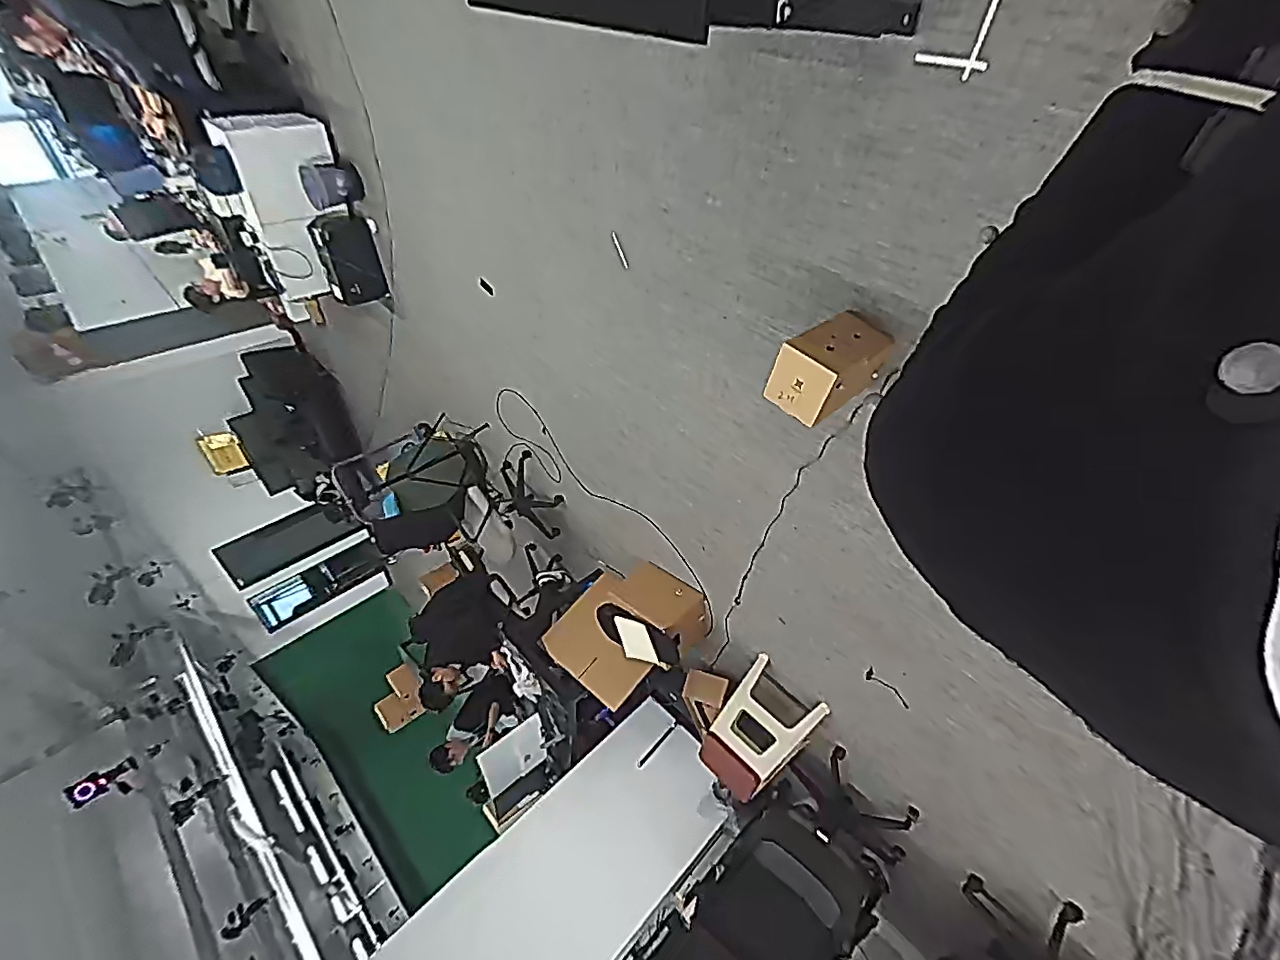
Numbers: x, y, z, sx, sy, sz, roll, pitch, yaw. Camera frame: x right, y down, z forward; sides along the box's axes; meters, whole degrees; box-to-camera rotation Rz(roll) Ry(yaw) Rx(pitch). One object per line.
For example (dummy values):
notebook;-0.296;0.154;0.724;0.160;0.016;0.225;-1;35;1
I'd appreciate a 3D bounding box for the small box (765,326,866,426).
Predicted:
small box;0.467;-0.280;1.431;0.168;0.176;0.179;42;144;25

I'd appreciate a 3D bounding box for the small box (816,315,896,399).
small box;0.579;-0.348;1.531;0.179;0.176;0.168;42;144;22
